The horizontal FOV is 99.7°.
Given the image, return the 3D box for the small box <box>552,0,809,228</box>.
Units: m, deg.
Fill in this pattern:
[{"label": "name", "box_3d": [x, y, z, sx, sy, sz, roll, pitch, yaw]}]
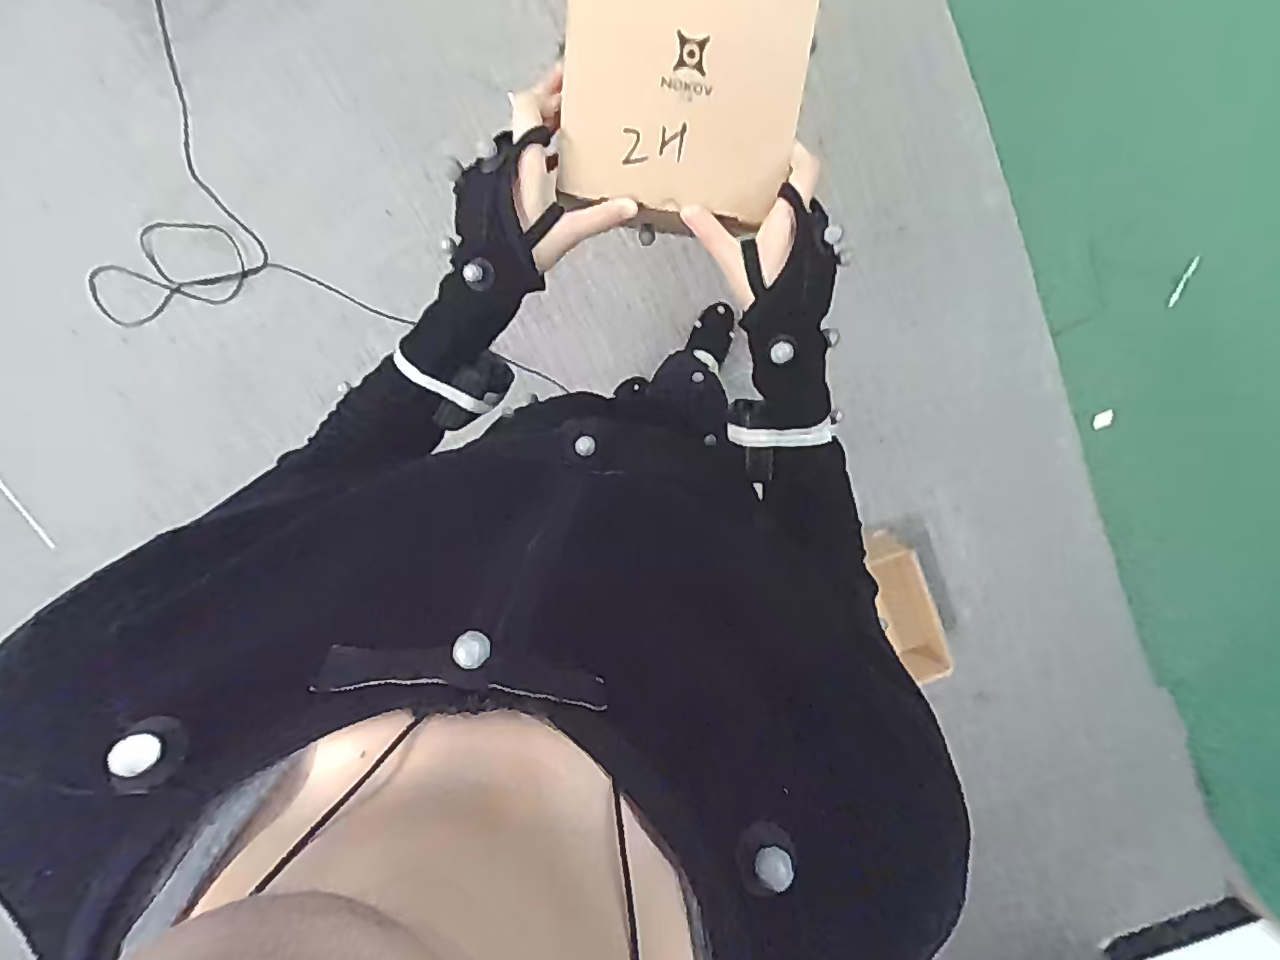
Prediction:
[{"label": "small box", "box_3d": [0.018, -0.317, 0.437, 0.168, 0.176, 0.179, 4, 109, -8]}]
